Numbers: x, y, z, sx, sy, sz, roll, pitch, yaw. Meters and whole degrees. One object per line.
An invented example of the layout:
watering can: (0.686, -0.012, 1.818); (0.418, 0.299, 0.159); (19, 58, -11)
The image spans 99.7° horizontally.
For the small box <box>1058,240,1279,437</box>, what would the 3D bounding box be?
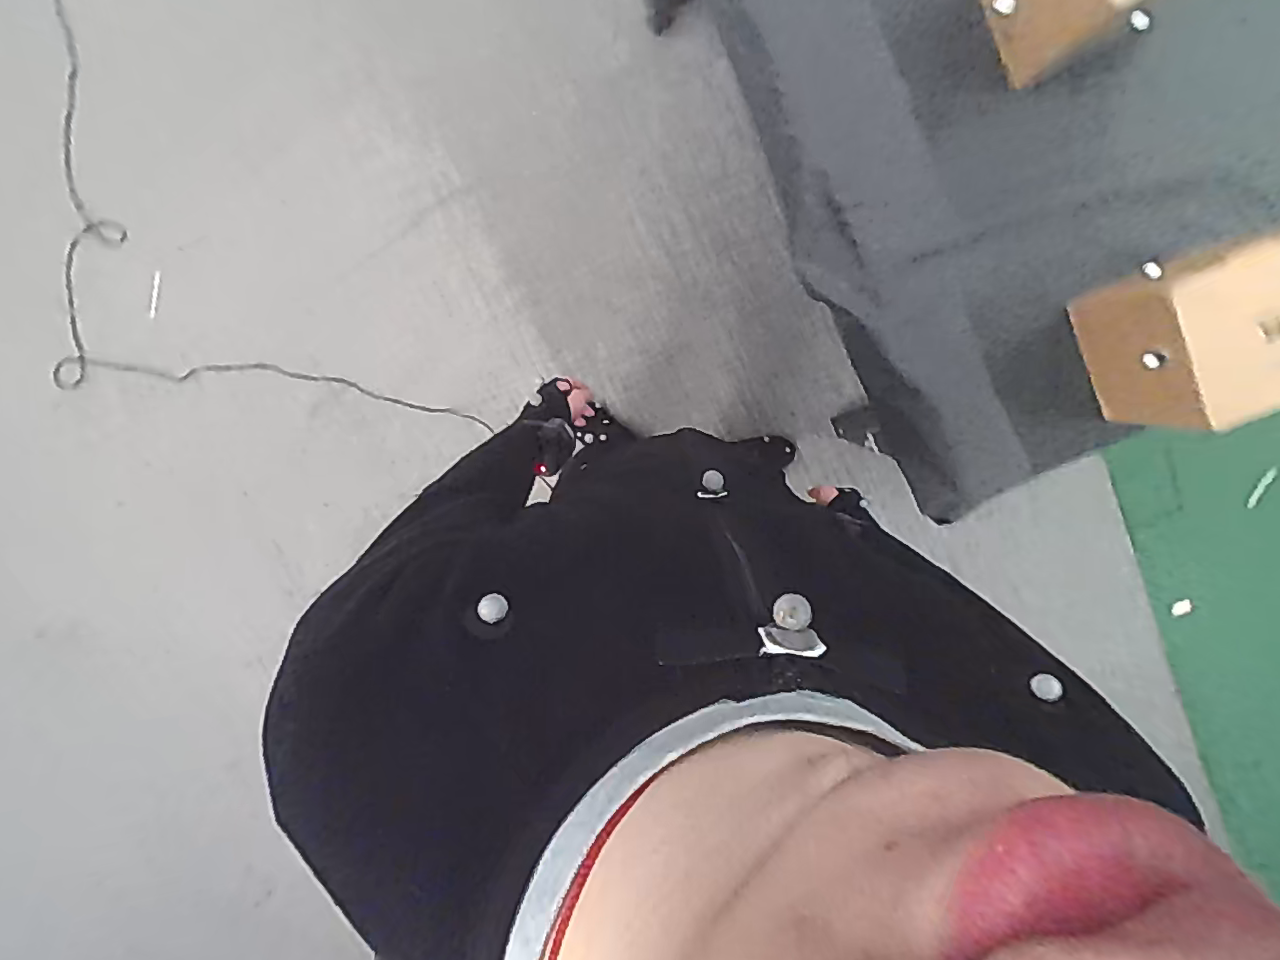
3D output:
small box: (0.682, -0.172, 0.685); (0.168, 0.176, 0.179); (-23, 99, 9)
